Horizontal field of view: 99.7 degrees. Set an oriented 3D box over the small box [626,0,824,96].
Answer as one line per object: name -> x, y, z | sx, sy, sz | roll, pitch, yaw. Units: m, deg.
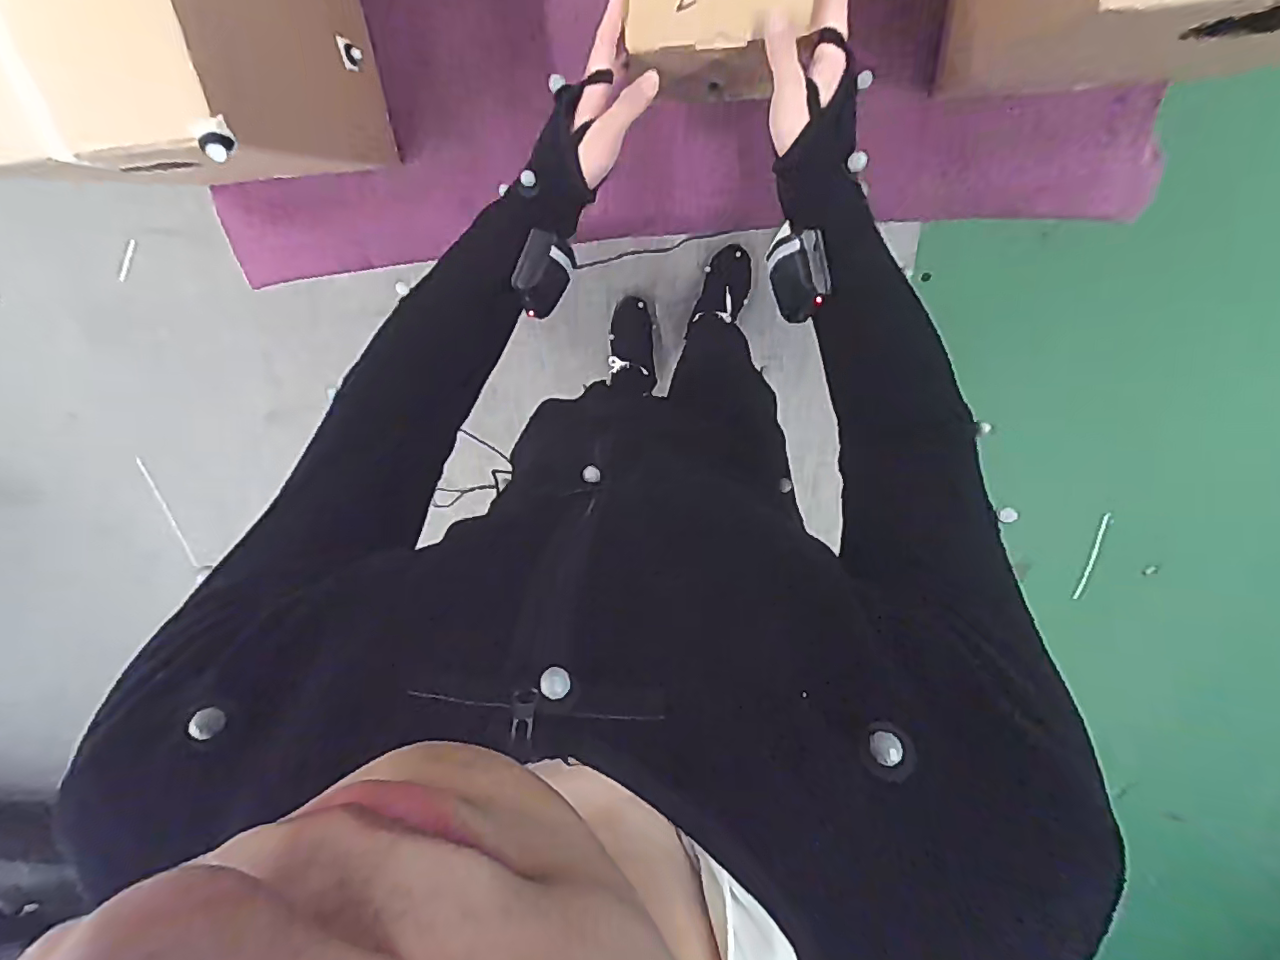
small box -> 0.074, -0.483, 0.495 | 0.168, 0.176, 0.179 | 0, 112, 5
